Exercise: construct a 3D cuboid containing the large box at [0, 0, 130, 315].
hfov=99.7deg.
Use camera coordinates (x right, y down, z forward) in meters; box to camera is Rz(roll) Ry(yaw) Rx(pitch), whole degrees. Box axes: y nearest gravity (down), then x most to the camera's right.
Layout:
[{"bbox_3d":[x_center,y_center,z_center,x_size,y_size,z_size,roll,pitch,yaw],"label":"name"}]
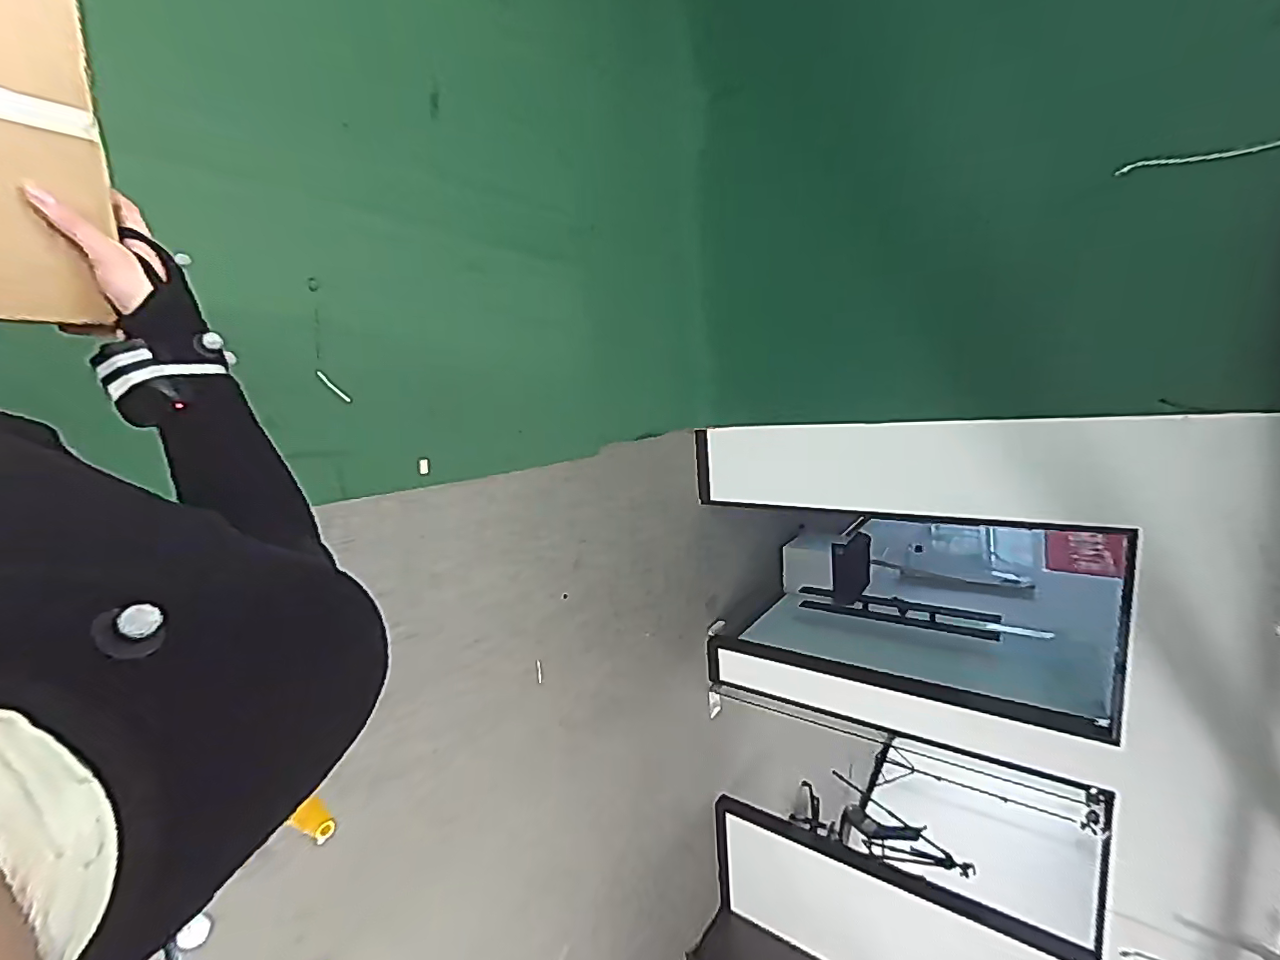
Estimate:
[{"bbox_3d":[-0.695,-0.293,0.386,0.408,0.320,0.320,-15,115,-51],"label":"large box"}]
